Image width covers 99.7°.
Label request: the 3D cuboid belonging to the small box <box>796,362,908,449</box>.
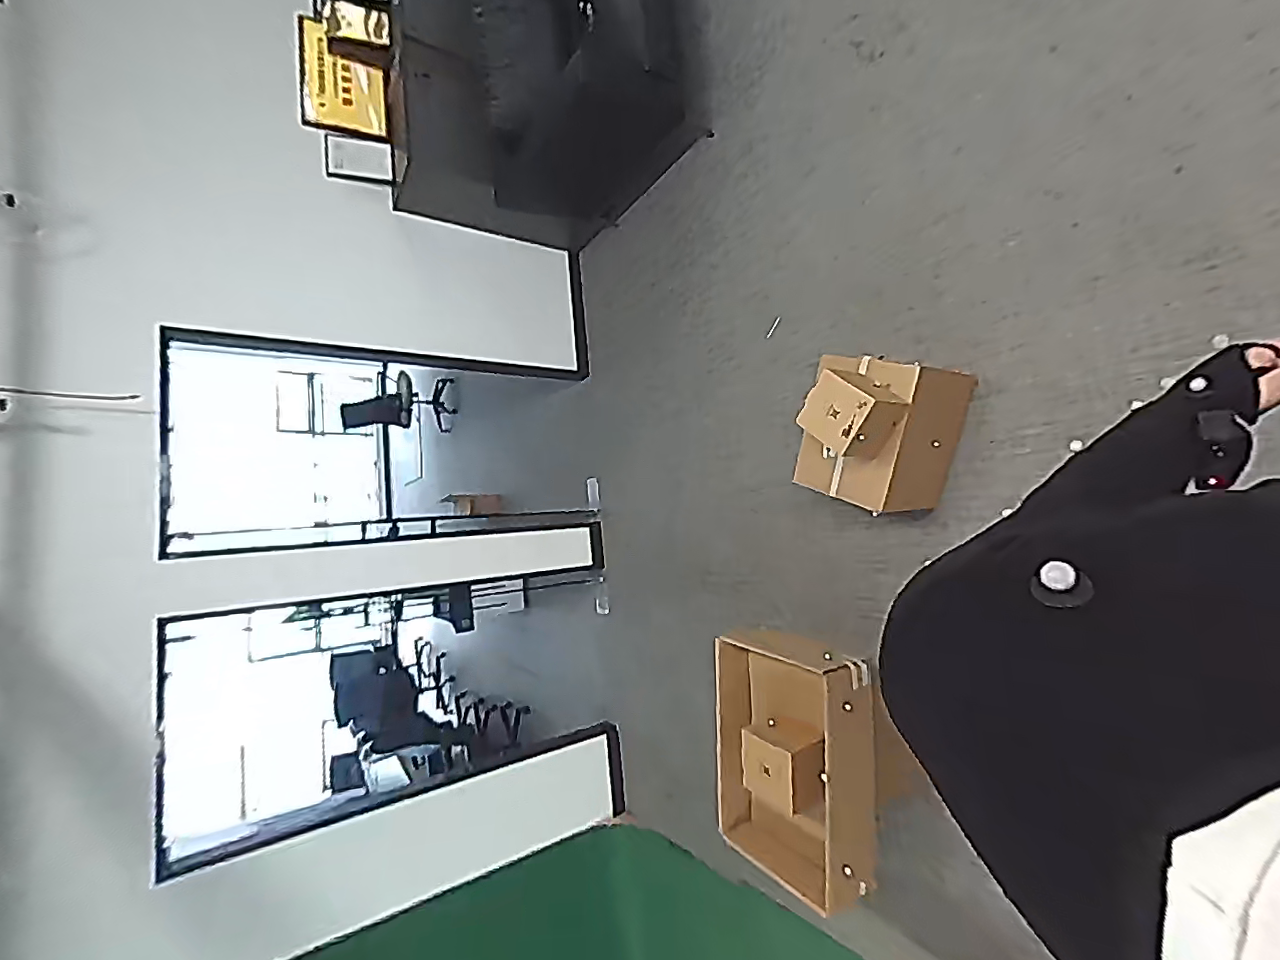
[{"bbox_3d":[0.556,-0.191,1.419,0.179,0.176,0.168,50,130,40],"label":"small box"}]

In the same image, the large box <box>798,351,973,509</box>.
[{"bbox_3d":[0.723,-0.160,1.611,0.320,0.320,0.408,27,114,52],"label":"large box"}]
